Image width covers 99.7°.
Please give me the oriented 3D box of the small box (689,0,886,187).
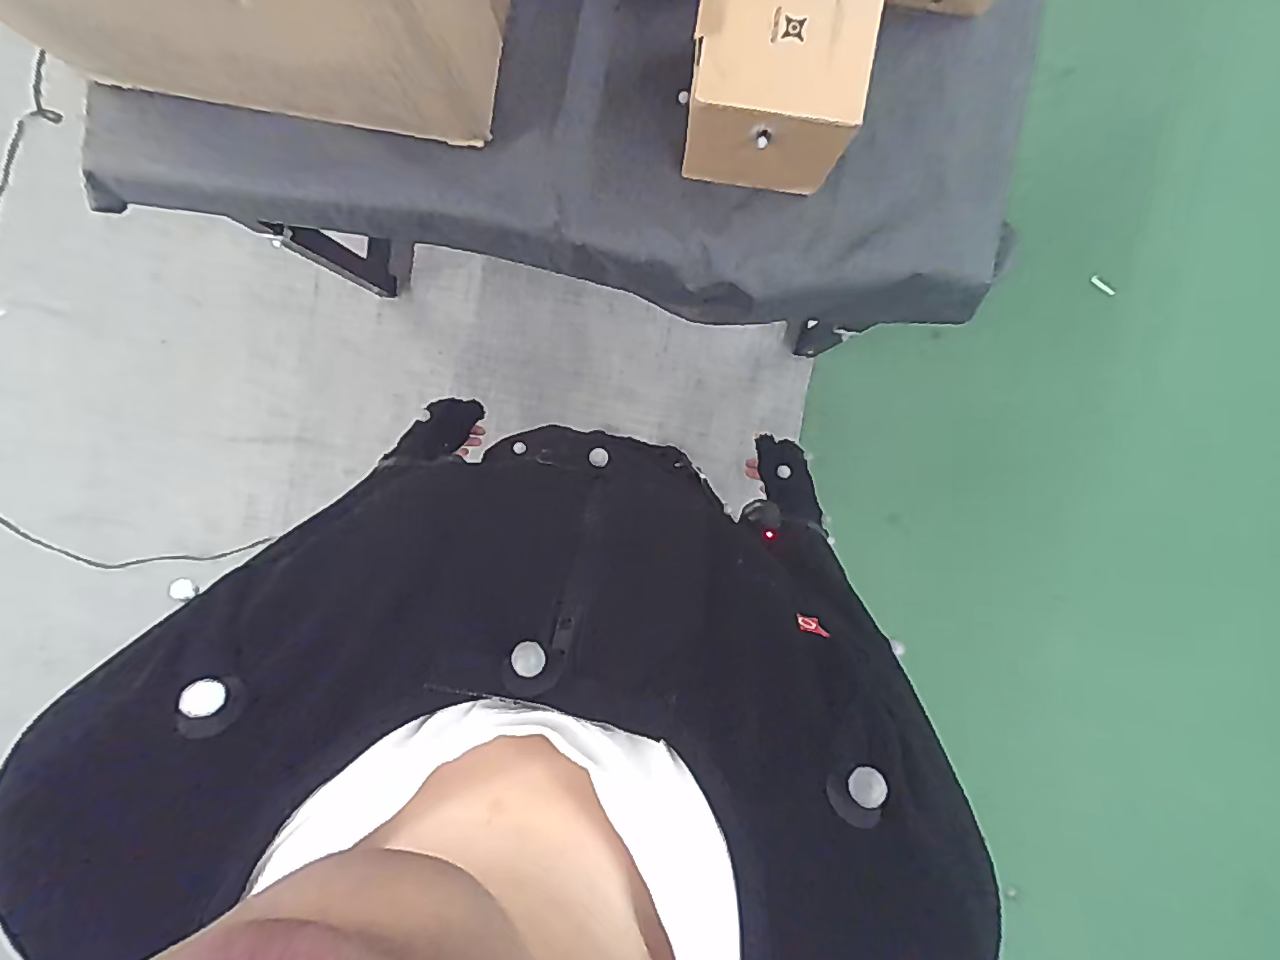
[{"bbox_3d":[0.156,-0.464,0.622,0.179,0.176,0.168,9,96,0],"label":"small box"}]
